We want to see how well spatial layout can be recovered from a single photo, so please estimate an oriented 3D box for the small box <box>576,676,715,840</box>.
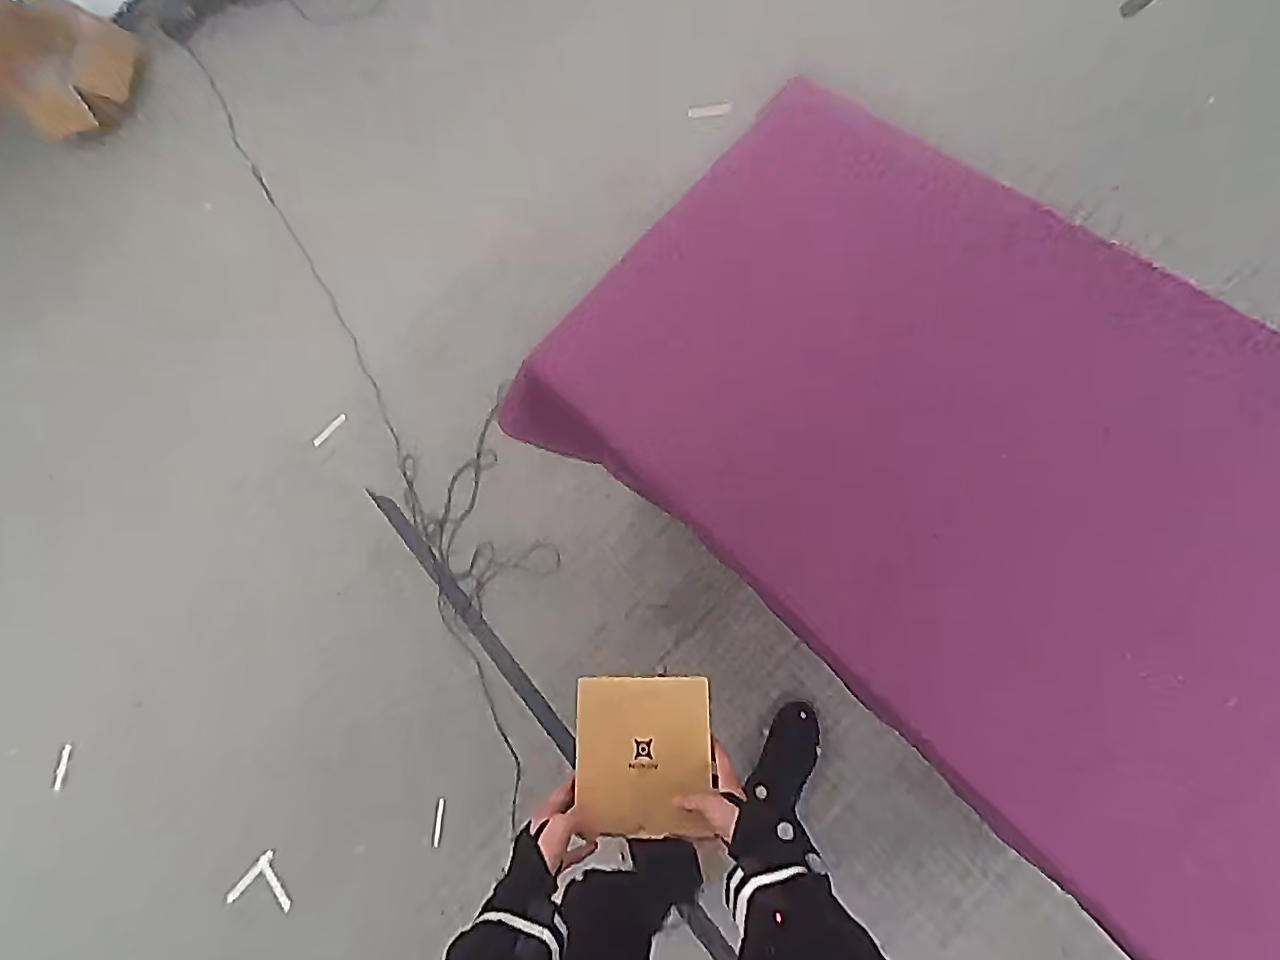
[{"bbox_3d":[0.010,0.359,0.727,0.168,0.176,0.179,-1,72,3],"label":"small box"}]
